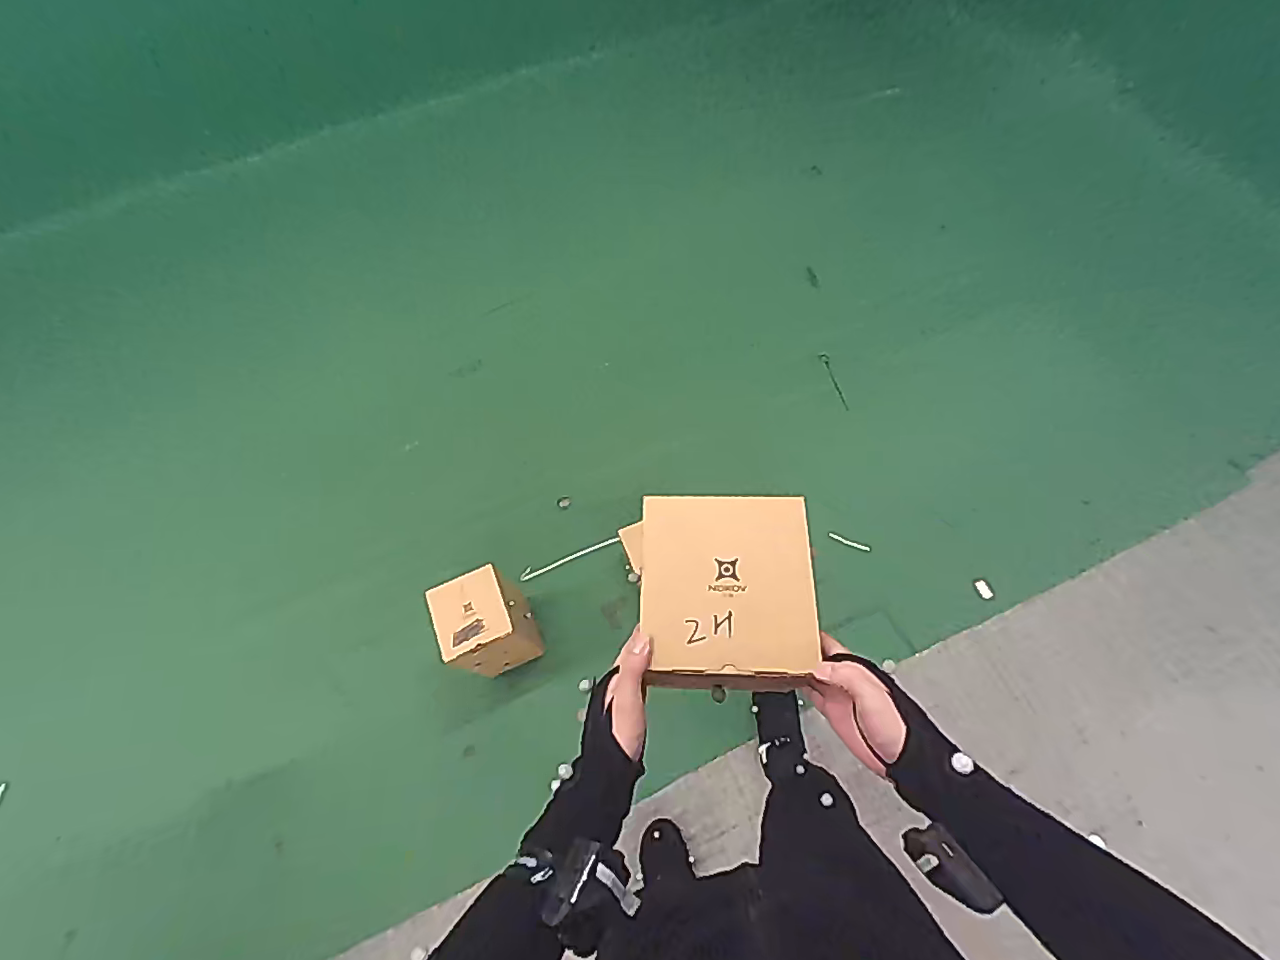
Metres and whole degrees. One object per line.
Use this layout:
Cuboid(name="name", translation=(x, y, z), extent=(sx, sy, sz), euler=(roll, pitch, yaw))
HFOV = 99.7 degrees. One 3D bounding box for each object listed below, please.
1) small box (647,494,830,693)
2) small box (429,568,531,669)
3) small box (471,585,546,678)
Cuboid(name="small box", translation=(0.094, 0.129, 0.589), extent=(0.168, 0.176, 0.179), euler=(0, 64, 4))
Cuboid(name="small box", translation=(-0.379, 0.341, 1.302), extent=(0.168, 0.176, 0.179), euler=(-23, 64, -7))
Cuboid(name="small box", translation=(-0.369, 0.411, 1.449), extent=(0.168, 0.176, 0.179), euler=(-23, 66, -7))
